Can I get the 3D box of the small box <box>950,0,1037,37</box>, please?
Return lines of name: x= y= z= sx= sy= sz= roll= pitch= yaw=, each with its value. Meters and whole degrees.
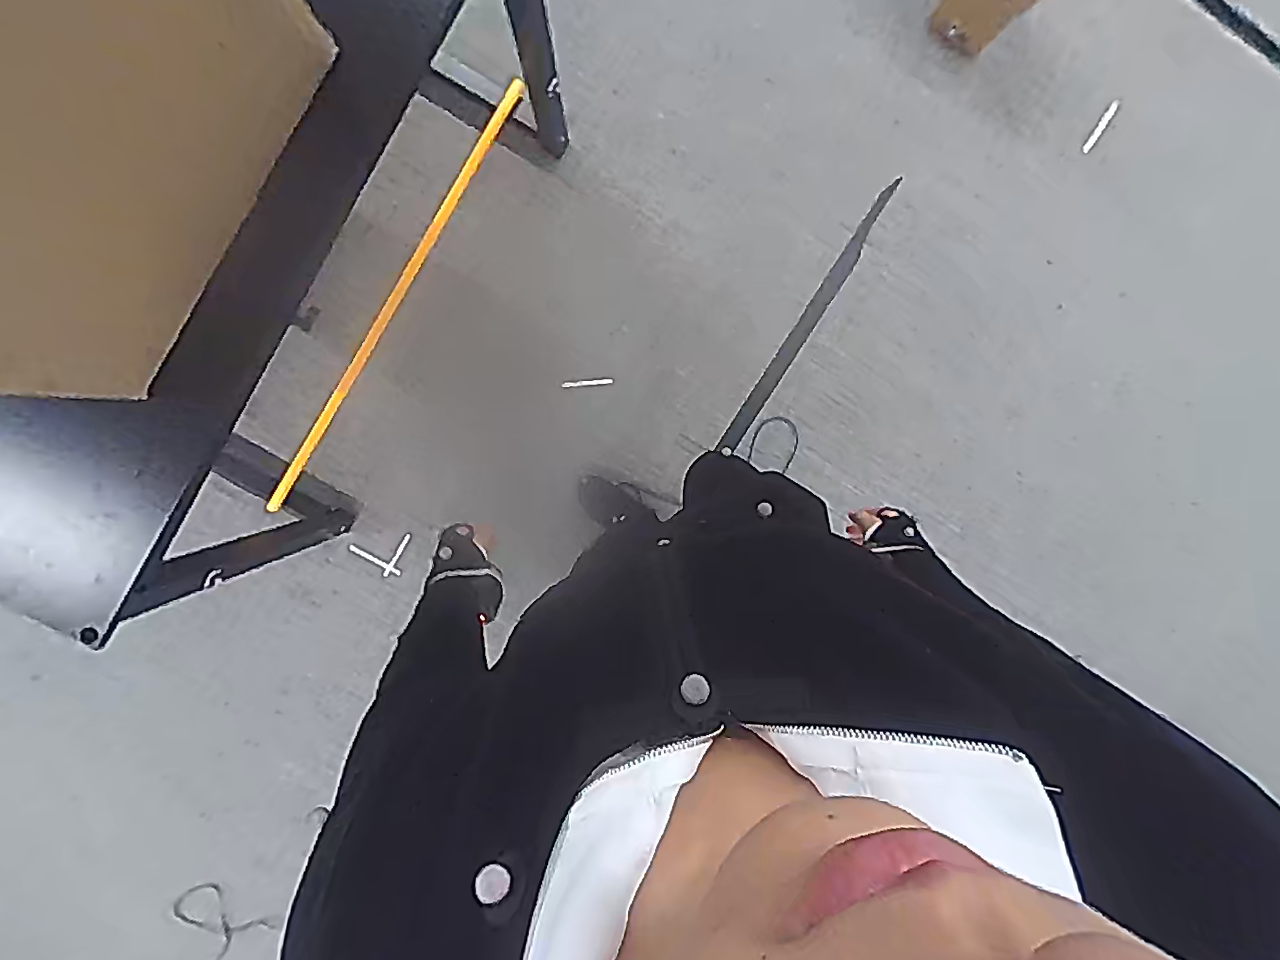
small box: x=0.865 y=-1.197 z=1.248 sx=0.168 sy=0.176 sz=0.179 roll=31 pitch=95 yaw=-5
